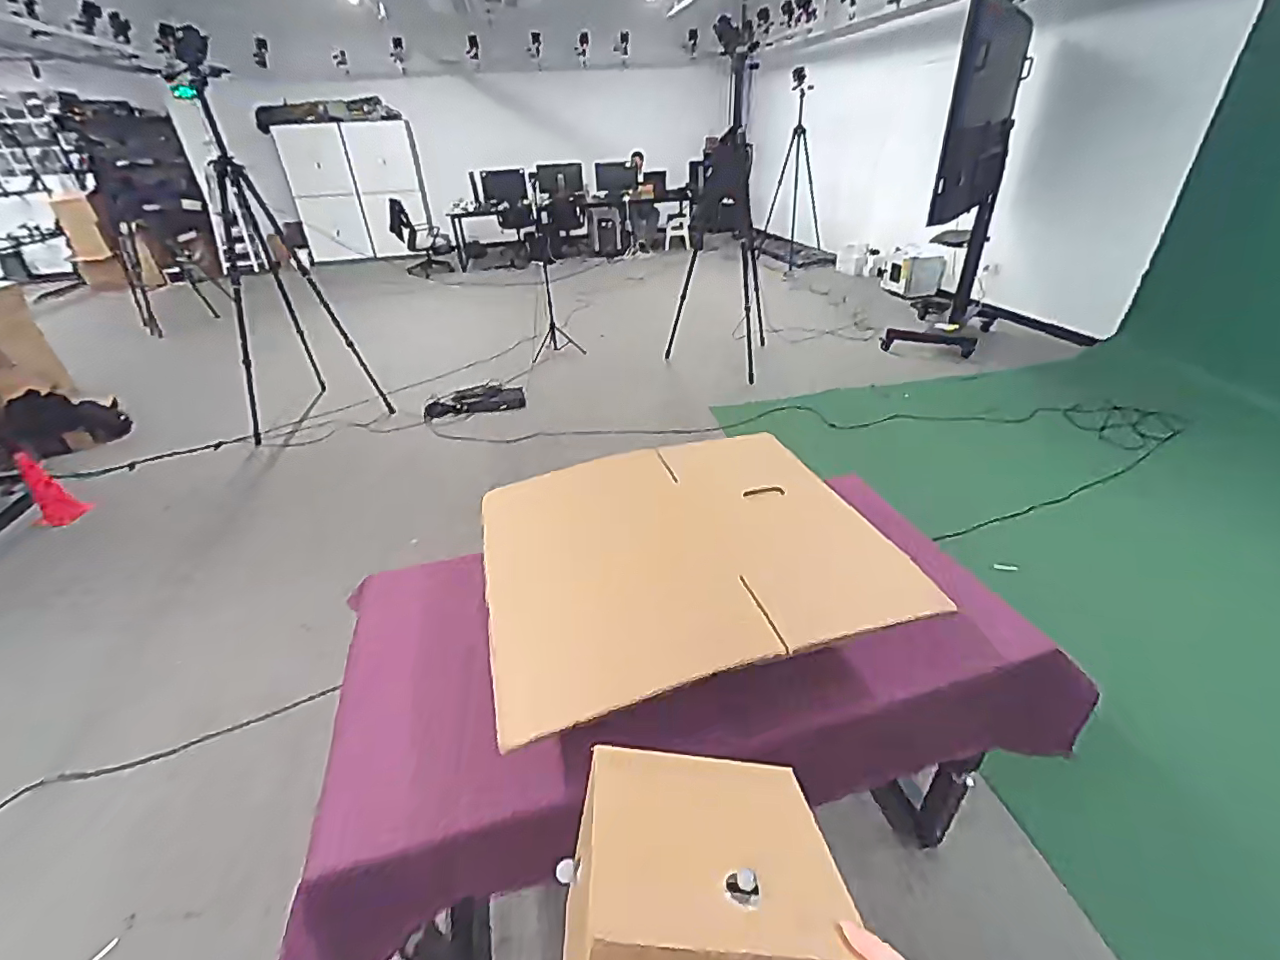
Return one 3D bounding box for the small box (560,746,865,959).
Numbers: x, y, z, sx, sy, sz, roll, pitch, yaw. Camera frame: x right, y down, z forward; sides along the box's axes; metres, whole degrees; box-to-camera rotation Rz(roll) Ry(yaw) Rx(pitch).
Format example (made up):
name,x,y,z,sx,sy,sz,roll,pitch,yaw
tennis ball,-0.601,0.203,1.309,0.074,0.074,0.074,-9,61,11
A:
name,x,y,z,sx,sy,sz,roll,pitch,yaw
small box,0.035,0.332,0.412,0.179,0.168,0.176,9,10,-4
